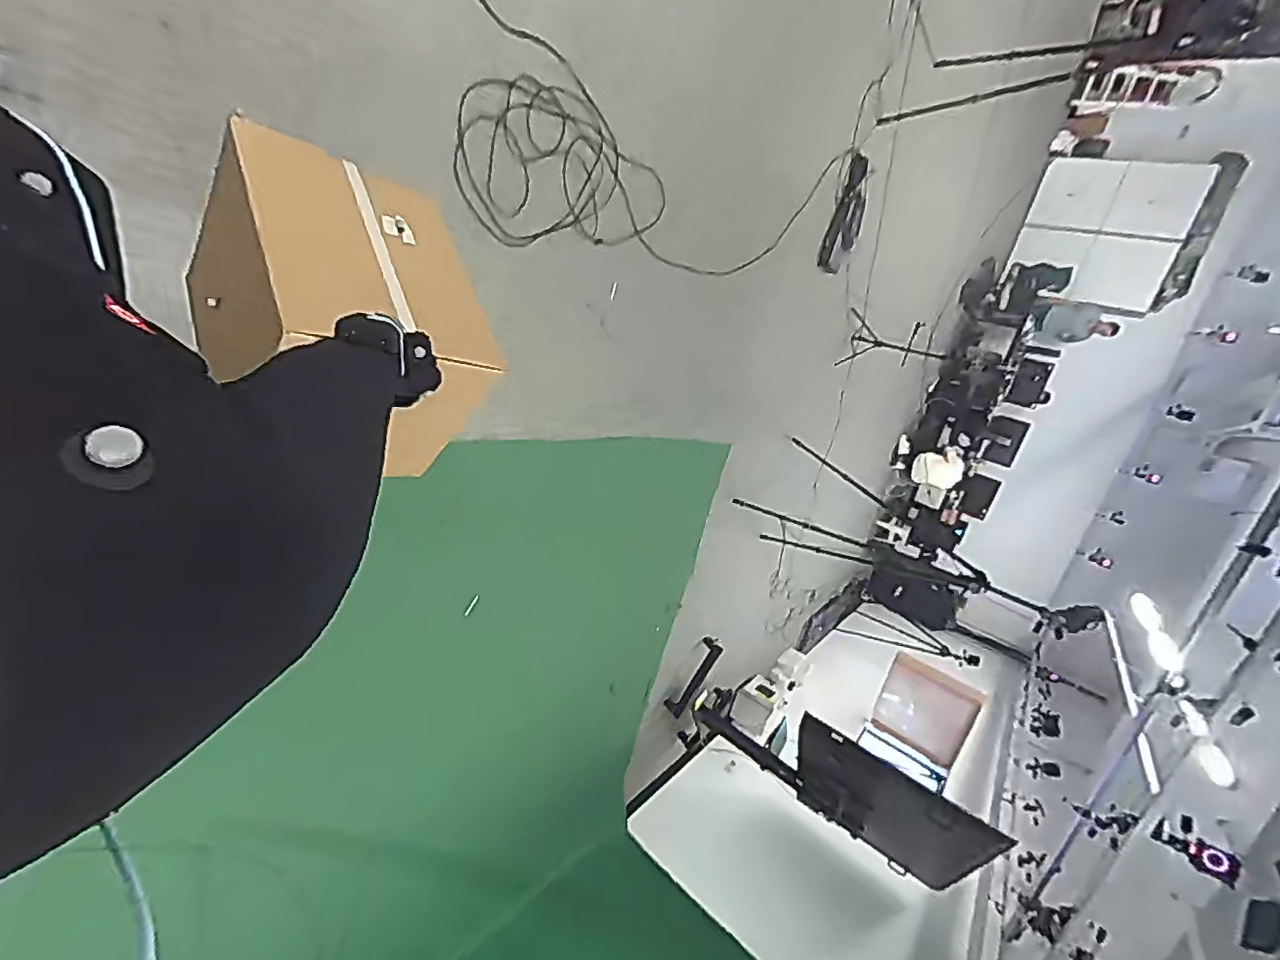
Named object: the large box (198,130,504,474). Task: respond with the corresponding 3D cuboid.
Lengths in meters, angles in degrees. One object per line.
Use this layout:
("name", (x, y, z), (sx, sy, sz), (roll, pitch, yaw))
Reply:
("large box", (-0.493, -0.257, 0.901), (0.320, 0.408, 0.320), (-41, 155, 32))
